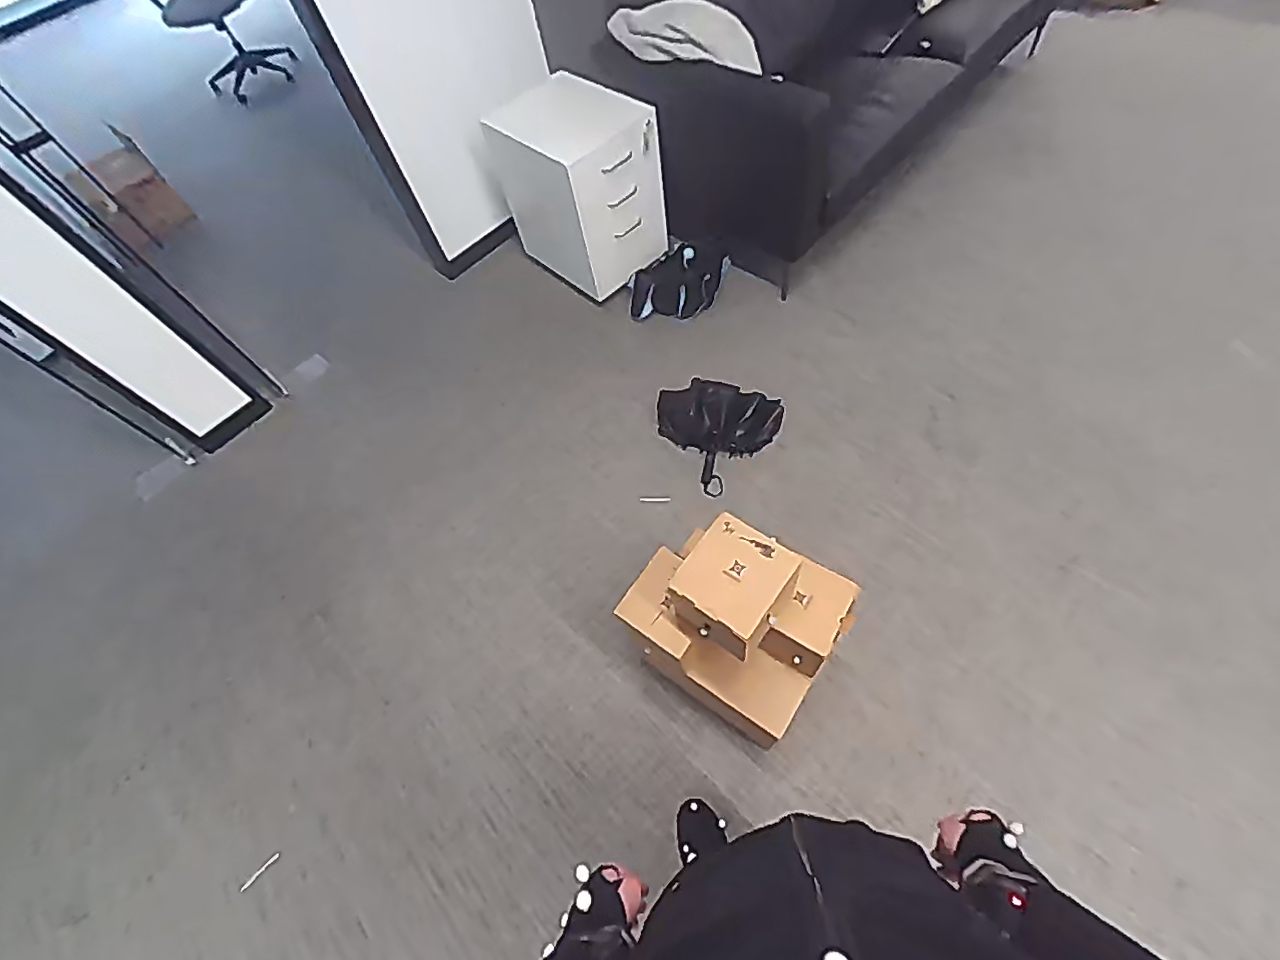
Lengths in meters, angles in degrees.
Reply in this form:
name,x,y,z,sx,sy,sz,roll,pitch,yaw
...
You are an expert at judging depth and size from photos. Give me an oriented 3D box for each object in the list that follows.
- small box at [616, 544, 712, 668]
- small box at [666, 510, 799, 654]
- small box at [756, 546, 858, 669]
name,x,y,z,sx,sy,sz,roll,pitch,yaw
small box,0.075,0.274,1.160,0.168,0.176,0.179,31,72,24
small box,0.173,0.194,0.997,0.168,0.176,0.179,33,71,25
small box,0.323,0.271,1.123,0.179,0.176,0.168,26,64,23
